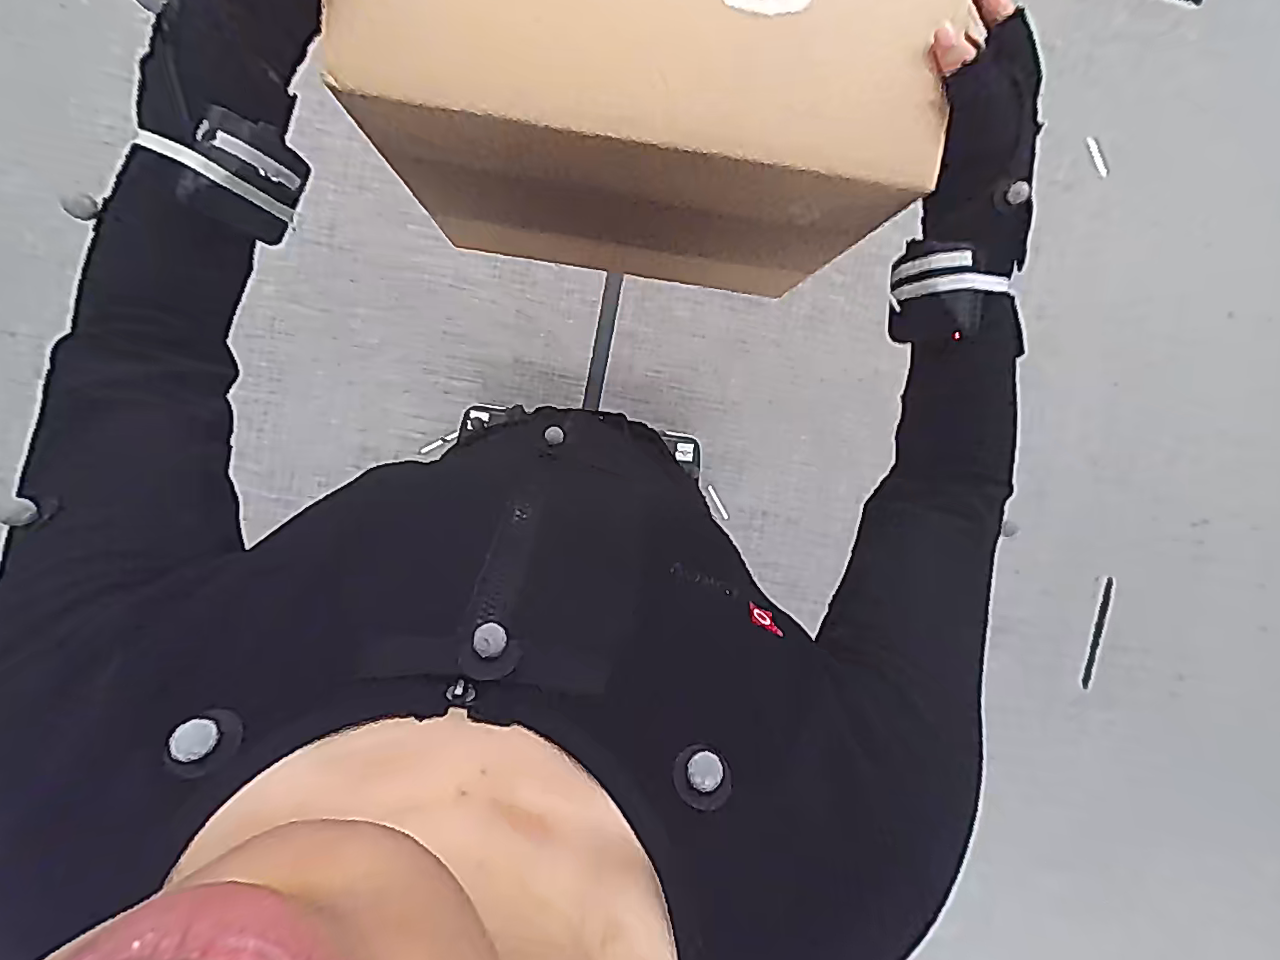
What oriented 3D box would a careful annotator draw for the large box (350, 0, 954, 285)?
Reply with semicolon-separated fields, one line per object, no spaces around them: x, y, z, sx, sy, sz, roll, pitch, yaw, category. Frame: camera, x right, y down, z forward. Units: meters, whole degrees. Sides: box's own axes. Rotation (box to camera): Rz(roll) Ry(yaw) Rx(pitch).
0.010;-0.399;0.500;0.408;0.320;0.320;7;96;-6;large box

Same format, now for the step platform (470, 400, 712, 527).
-0.137;-0.047;1.569;0.684;0.204;0.286;7;96;-6;step platform
